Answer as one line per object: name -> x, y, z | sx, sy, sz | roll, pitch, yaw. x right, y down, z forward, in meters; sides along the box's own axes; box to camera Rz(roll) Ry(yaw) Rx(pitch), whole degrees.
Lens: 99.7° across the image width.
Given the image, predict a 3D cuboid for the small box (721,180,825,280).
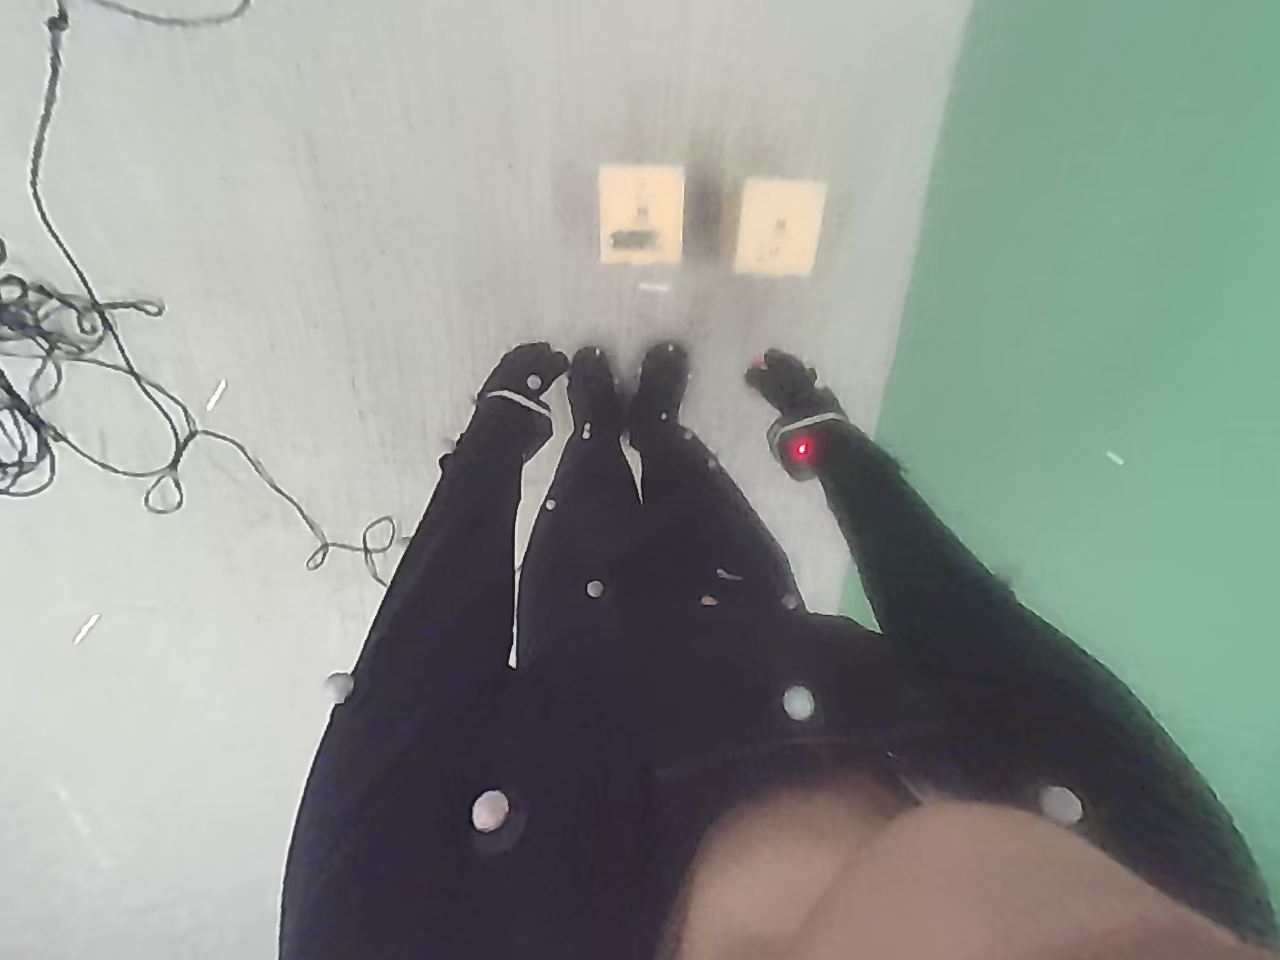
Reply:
small box -> 0.276, -0.533, 1.165 | 0.168, 0.176, 0.179 | 3, 113, -3
